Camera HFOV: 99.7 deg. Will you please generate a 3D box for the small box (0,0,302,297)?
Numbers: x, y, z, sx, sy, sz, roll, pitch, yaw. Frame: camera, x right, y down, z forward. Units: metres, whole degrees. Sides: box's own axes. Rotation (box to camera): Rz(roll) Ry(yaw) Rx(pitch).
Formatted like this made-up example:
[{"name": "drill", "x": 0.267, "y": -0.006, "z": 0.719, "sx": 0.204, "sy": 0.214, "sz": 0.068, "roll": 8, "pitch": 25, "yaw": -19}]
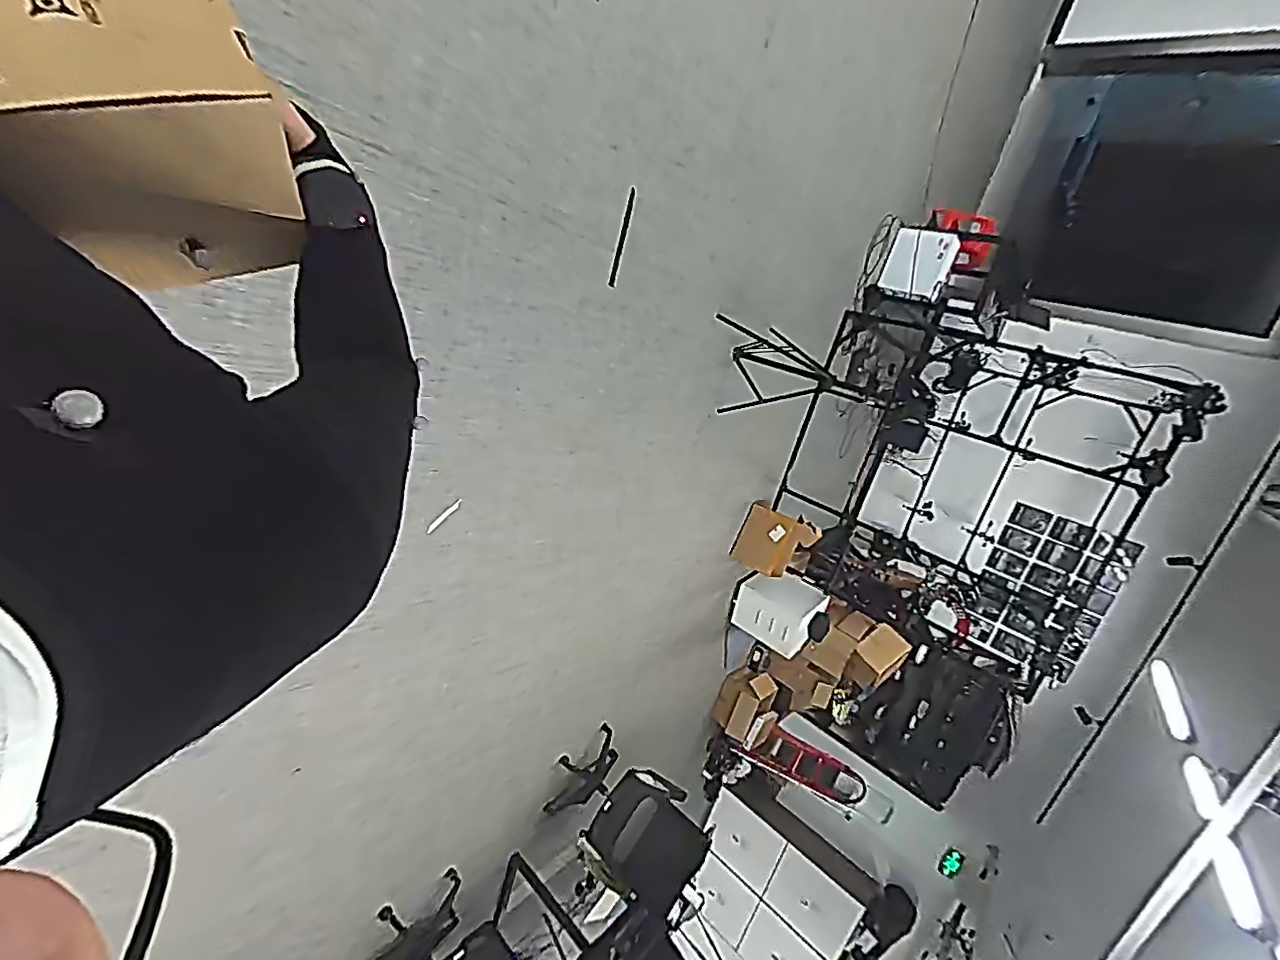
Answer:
[{"name": "small box", "x": -0.399, "y": -0.278, "z": 0.434, "sx": 0.179, "sy": 0.168, "sz": 0.176, "roll": -27, "pitch": 172, "yaw": -29}]
